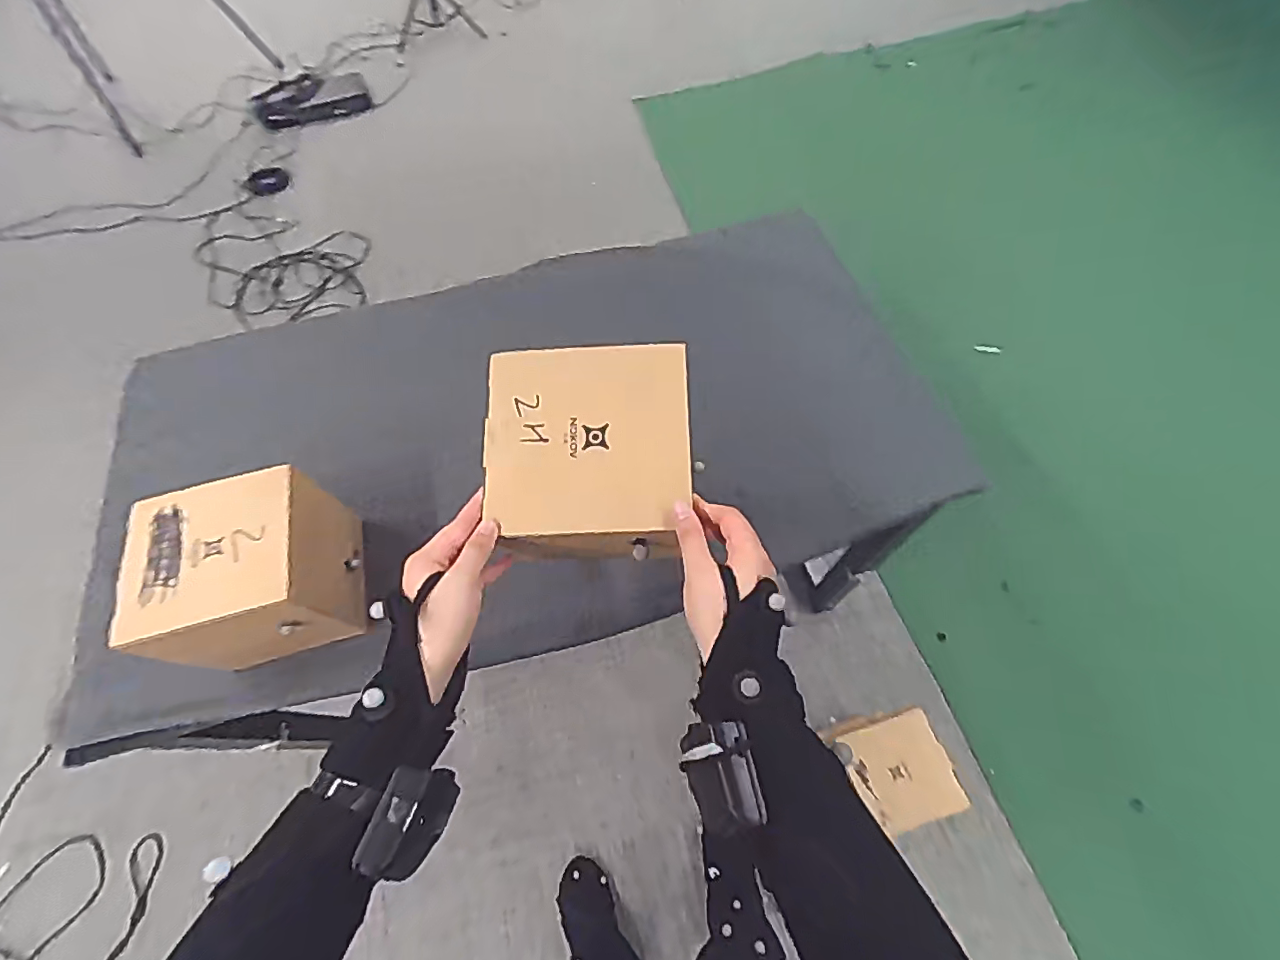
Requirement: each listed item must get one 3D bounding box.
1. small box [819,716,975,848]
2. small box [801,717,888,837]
[{"bbox_3d":[0.459,0.547,1.000,0.179,0.176,0.168,-16,64,-5],"label":"small box"},{"bbox_3d":[0.465,0.622,1.147,0.168,0.176,0.179,-18,62,-6],"label":"small box"}]
